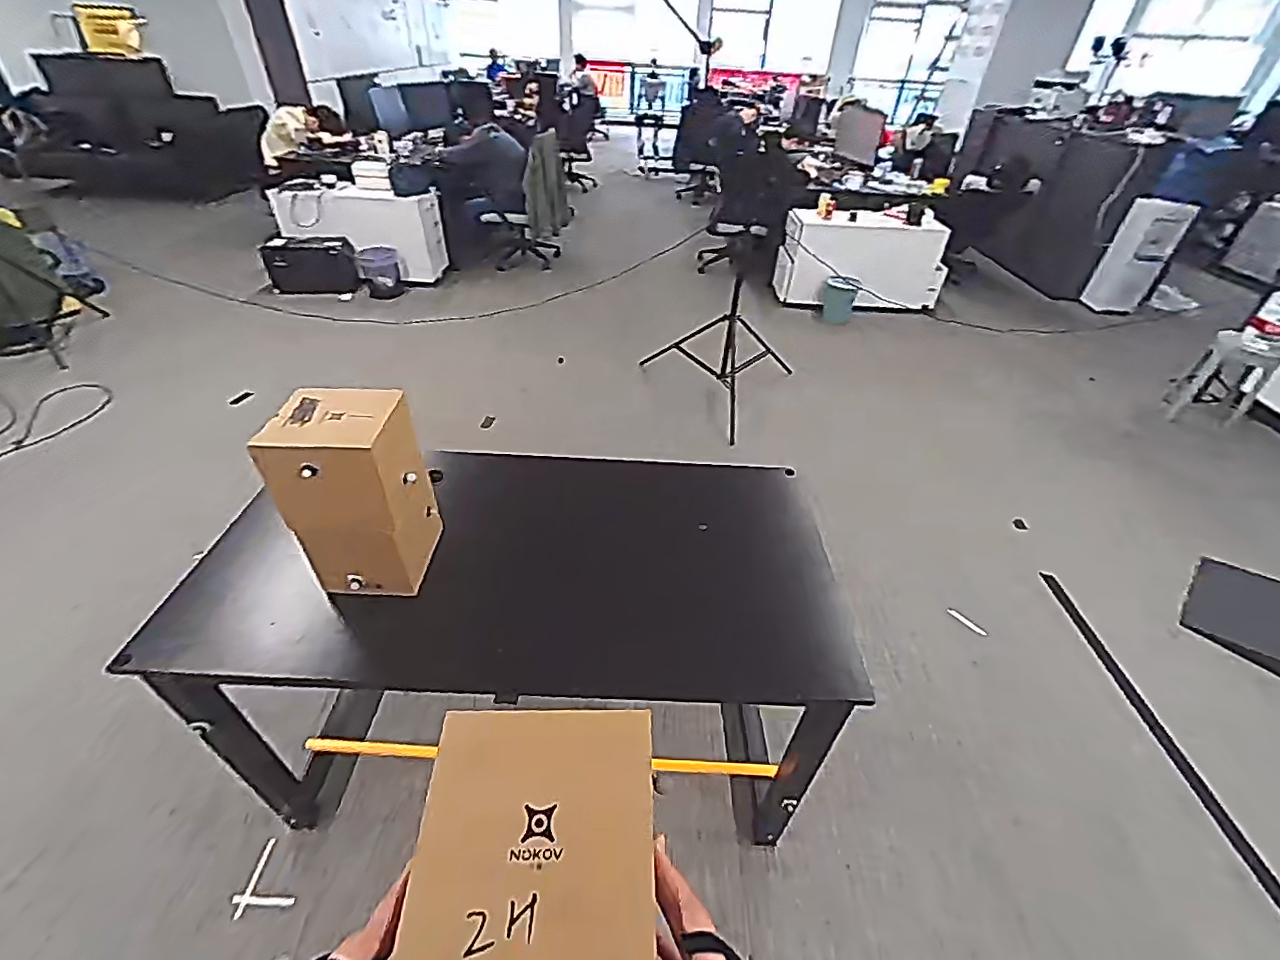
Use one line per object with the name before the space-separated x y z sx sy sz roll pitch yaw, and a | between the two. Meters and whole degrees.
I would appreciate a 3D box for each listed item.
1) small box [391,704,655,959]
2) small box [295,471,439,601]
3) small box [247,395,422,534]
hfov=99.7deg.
small box | -0.074 0.302 0.440 0.168 0.176 0.179 0 47 -1
small box | -0.483 0.099 0.991 0.168 0.176 0.179 0 40 -1
small box | -0.480 -0.025 0.883 0.179 0.176 0.168 0 39 -3
